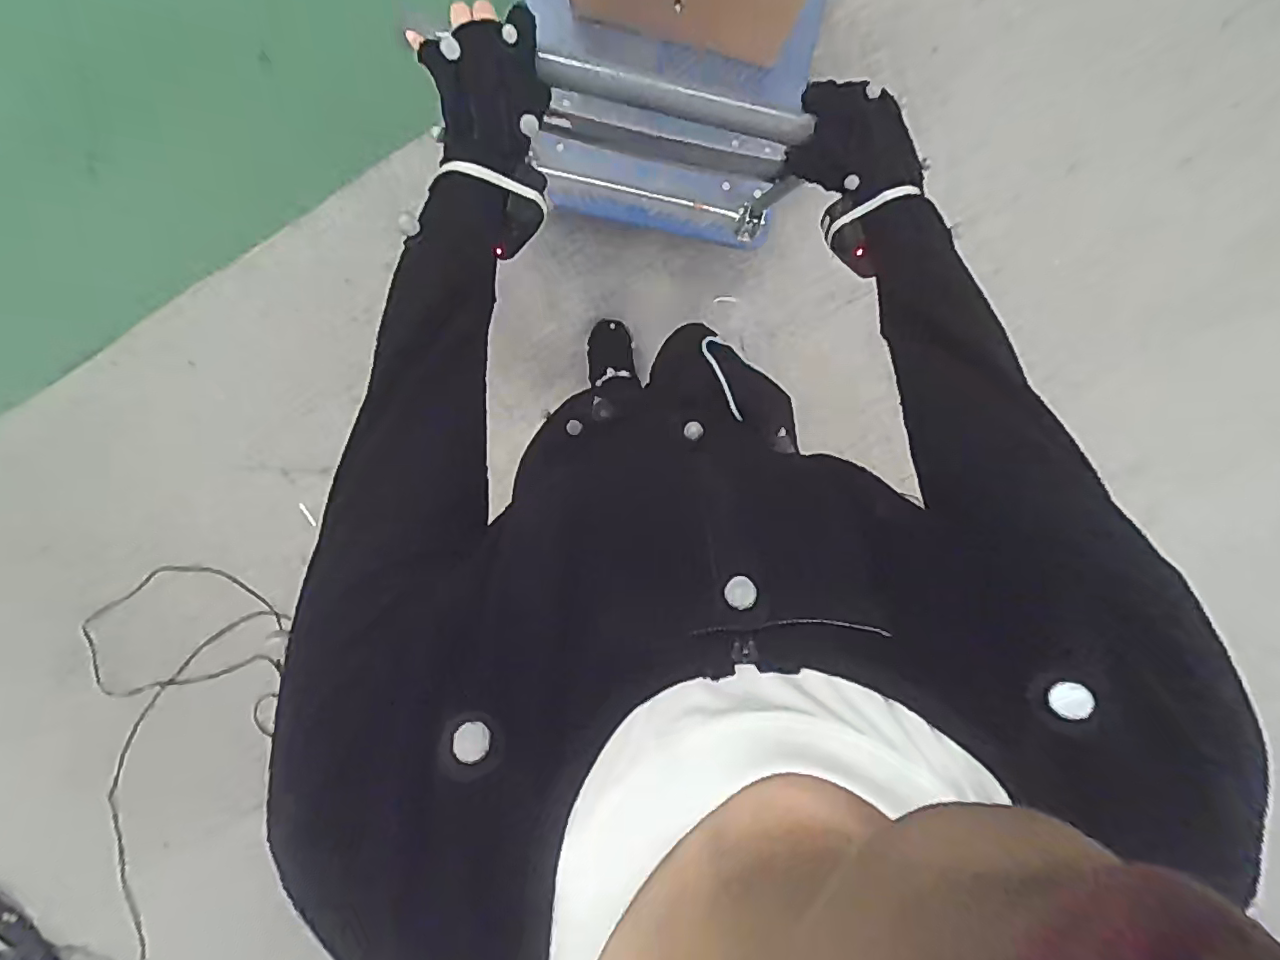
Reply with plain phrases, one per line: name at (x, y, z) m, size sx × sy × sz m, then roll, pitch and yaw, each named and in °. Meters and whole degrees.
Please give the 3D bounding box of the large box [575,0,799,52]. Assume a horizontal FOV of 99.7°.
large box at (0.098, -0.982, 0.879) m, size 0.408 × 0.320 × 0.320 m, roll 12°, pitch 105°, yaw -3°
